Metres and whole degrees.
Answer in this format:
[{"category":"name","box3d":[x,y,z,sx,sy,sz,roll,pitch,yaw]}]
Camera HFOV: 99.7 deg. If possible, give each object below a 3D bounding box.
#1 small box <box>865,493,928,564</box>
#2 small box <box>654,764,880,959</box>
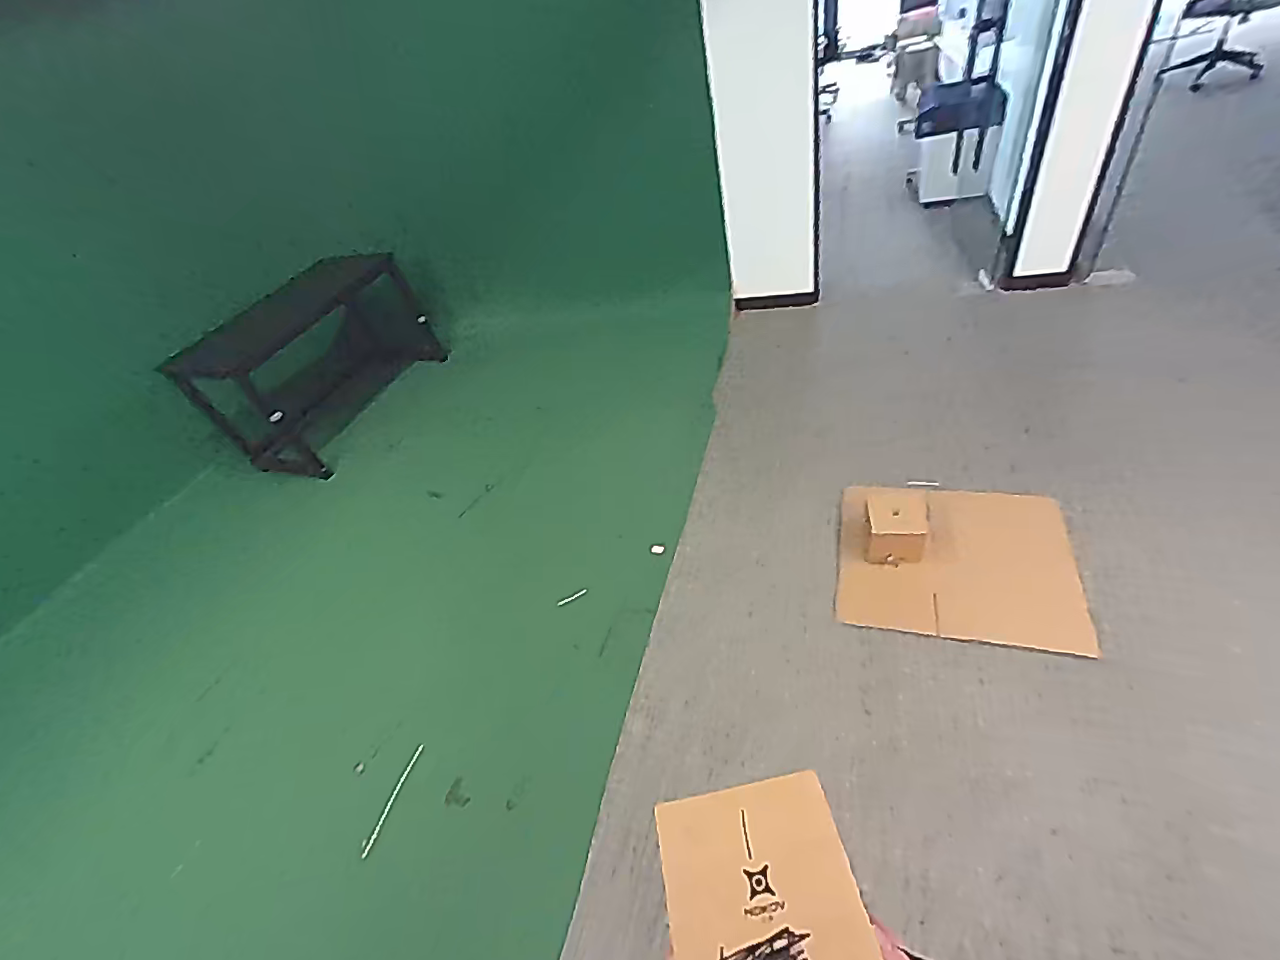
[{"category":"small box","box3d":[0.859,0.162,1.825,0.168,0.176,0.179,-2,45,17]},{"category":"small box","box3d":[0.118,0.408,0.519,0.168,0.176,0.179,-13,41,3]}]
